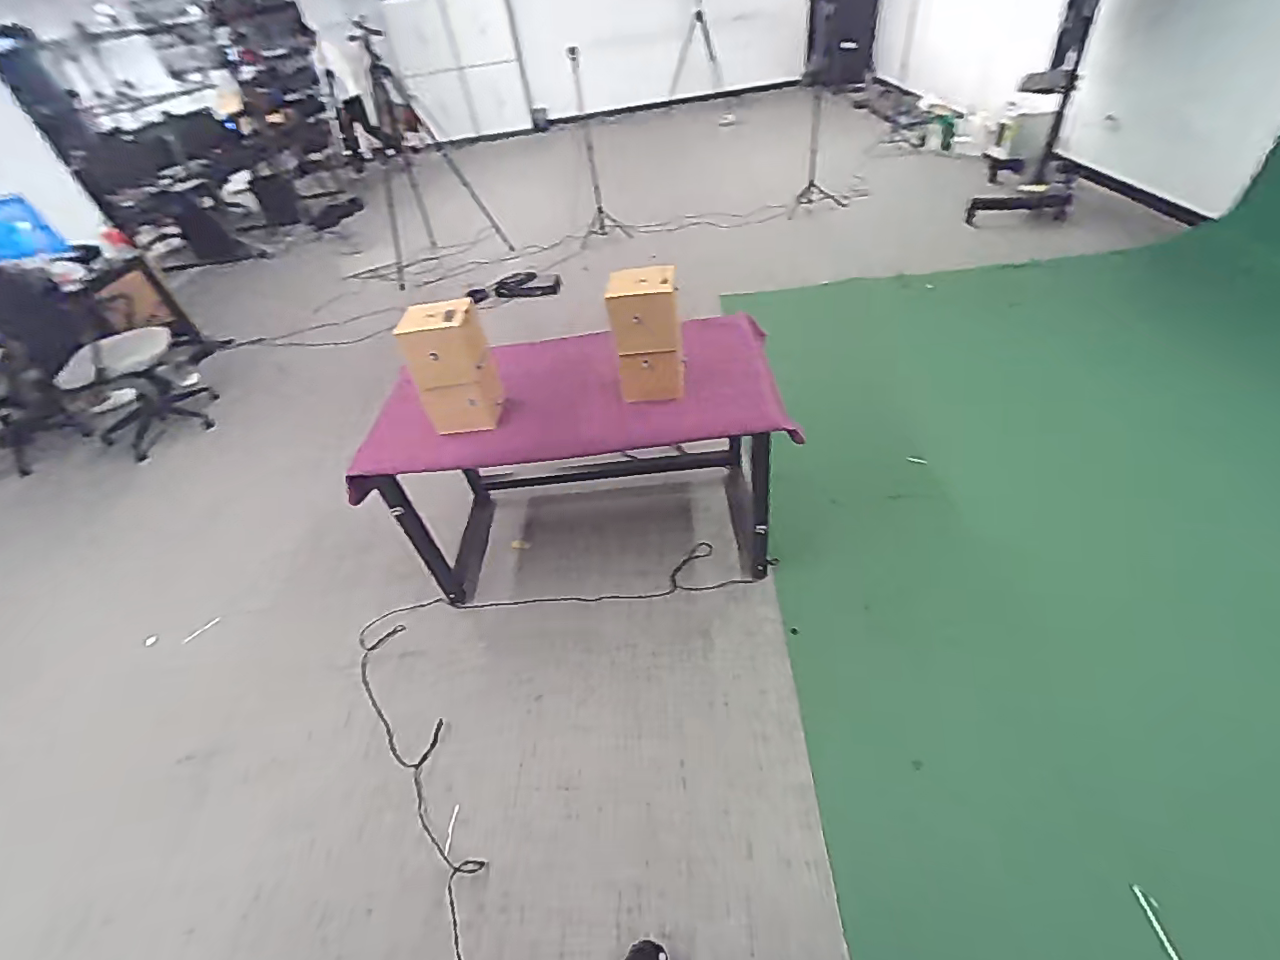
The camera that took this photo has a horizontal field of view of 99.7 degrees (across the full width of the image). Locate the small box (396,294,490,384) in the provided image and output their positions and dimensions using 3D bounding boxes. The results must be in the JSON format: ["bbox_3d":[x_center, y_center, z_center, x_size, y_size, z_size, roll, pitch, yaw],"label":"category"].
[{"bbox_3d":[-0.519,-0.379,1.460,0.179,0.176,0.168,-7,43,3],"label":"small box"}]

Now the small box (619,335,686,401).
[{"bbox_3d":[0.044,-0.345,1.576,0.179,0.176,0.168,-2,44,9],"label":"small box"}]

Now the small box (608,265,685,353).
[{"bbox_3d":[0.023,-0.456,1.456,0.179,0.176,0.168,-2,44,9],"label":"small box"}]
